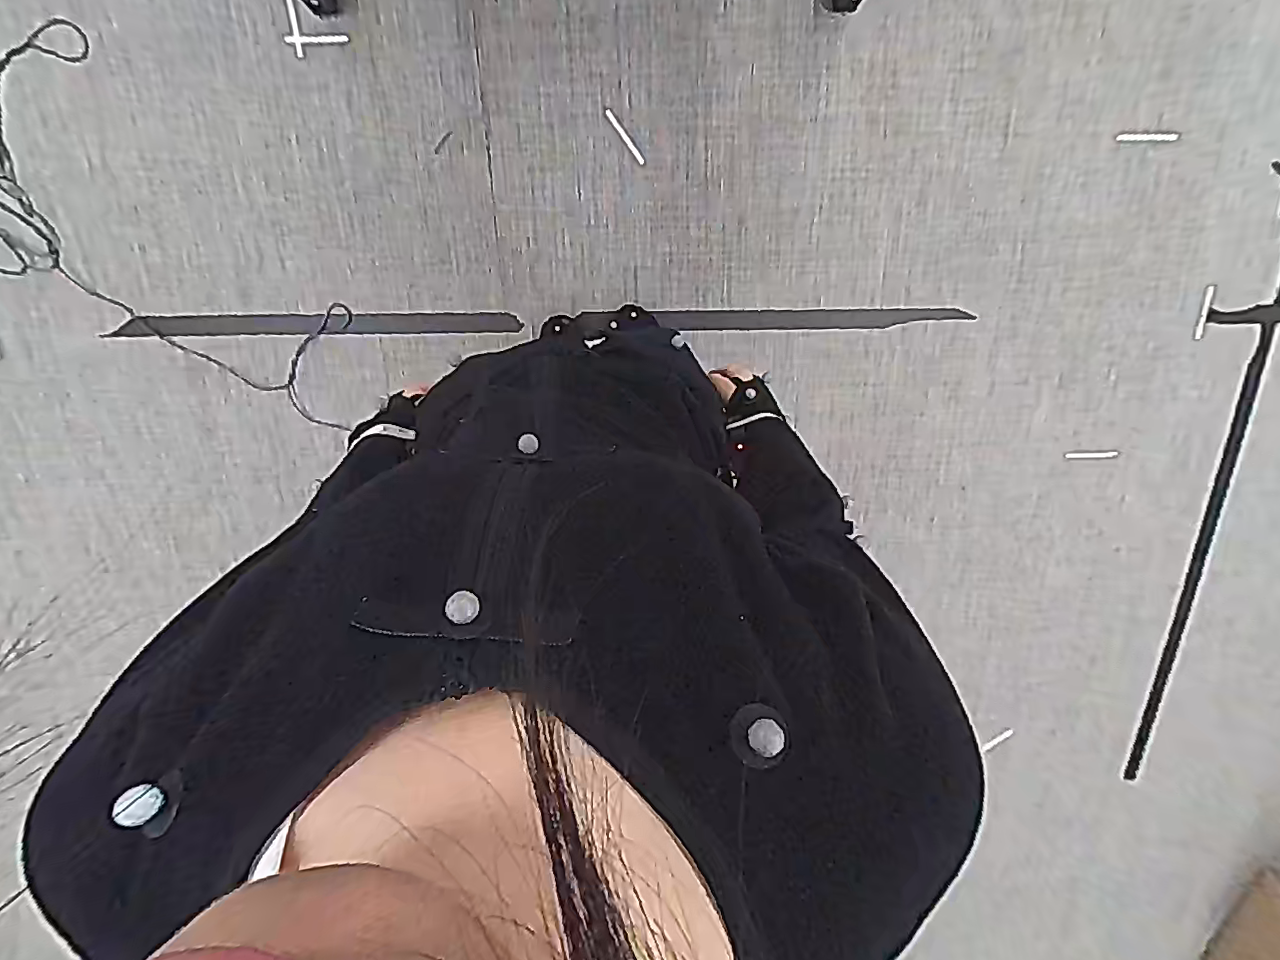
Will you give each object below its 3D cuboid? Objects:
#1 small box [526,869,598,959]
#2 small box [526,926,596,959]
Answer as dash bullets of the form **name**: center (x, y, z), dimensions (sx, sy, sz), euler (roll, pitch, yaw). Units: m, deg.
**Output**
- **small box**: center (-0.205, 1.205, 1.480), dimensions (0.179, 0.176, 0.168), euler (-3, 106, -1)
- **small box**: center (-0.194, 1.243, 1.323), dimensions (0.168, 0.176, 0.179), euler (-2, 105, -2)
